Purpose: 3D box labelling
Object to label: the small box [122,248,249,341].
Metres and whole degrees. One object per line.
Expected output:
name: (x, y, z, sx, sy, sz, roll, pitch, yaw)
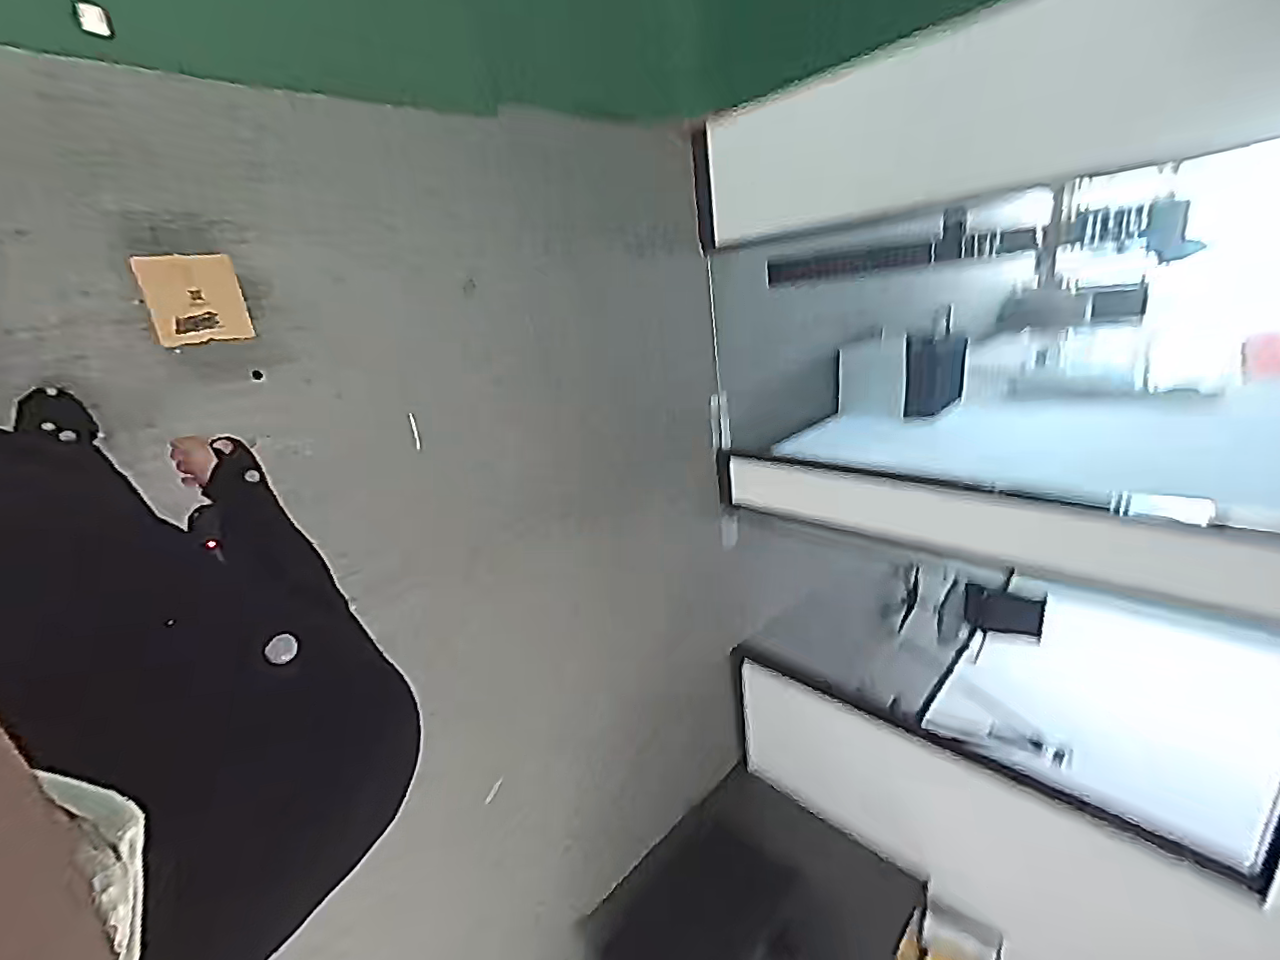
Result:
small box: (-0.978, -0.396, 1.165, 0.168, 0.176, 0.179, -23, 114, -41)
